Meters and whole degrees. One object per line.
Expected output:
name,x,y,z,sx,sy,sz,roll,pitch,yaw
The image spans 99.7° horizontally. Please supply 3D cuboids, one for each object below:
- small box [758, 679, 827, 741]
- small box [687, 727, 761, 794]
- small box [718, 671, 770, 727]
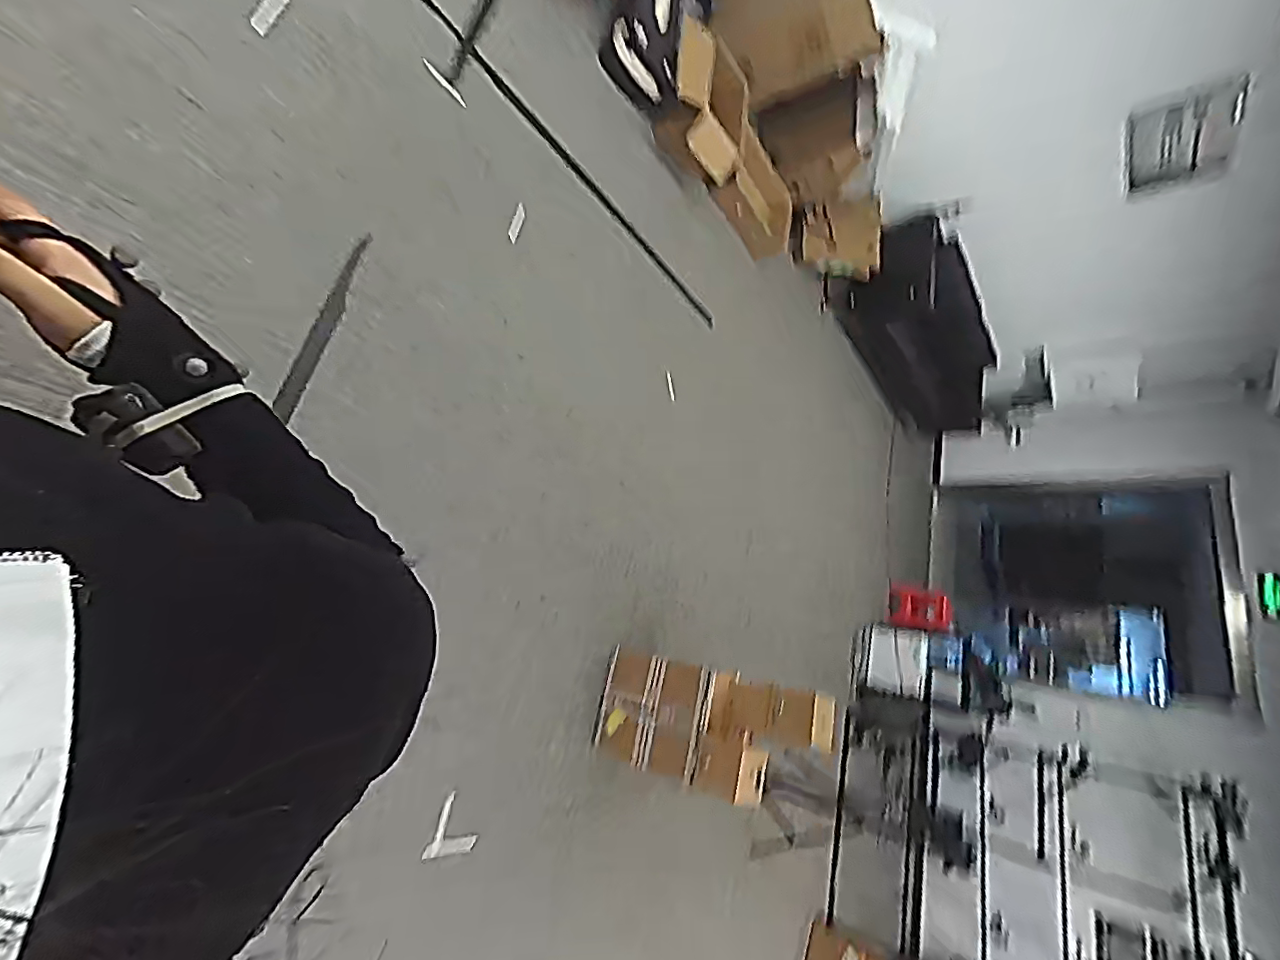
small box,0.535,0.802,1.889,0.179,0.176,0.168,31,62,-43
small box,0.288,0.951,1.840,0.179,0.176,0.168,31,65,-43
small box,0.413,0.812,1.996,0.179,0.176,0.168,32,62,-43
